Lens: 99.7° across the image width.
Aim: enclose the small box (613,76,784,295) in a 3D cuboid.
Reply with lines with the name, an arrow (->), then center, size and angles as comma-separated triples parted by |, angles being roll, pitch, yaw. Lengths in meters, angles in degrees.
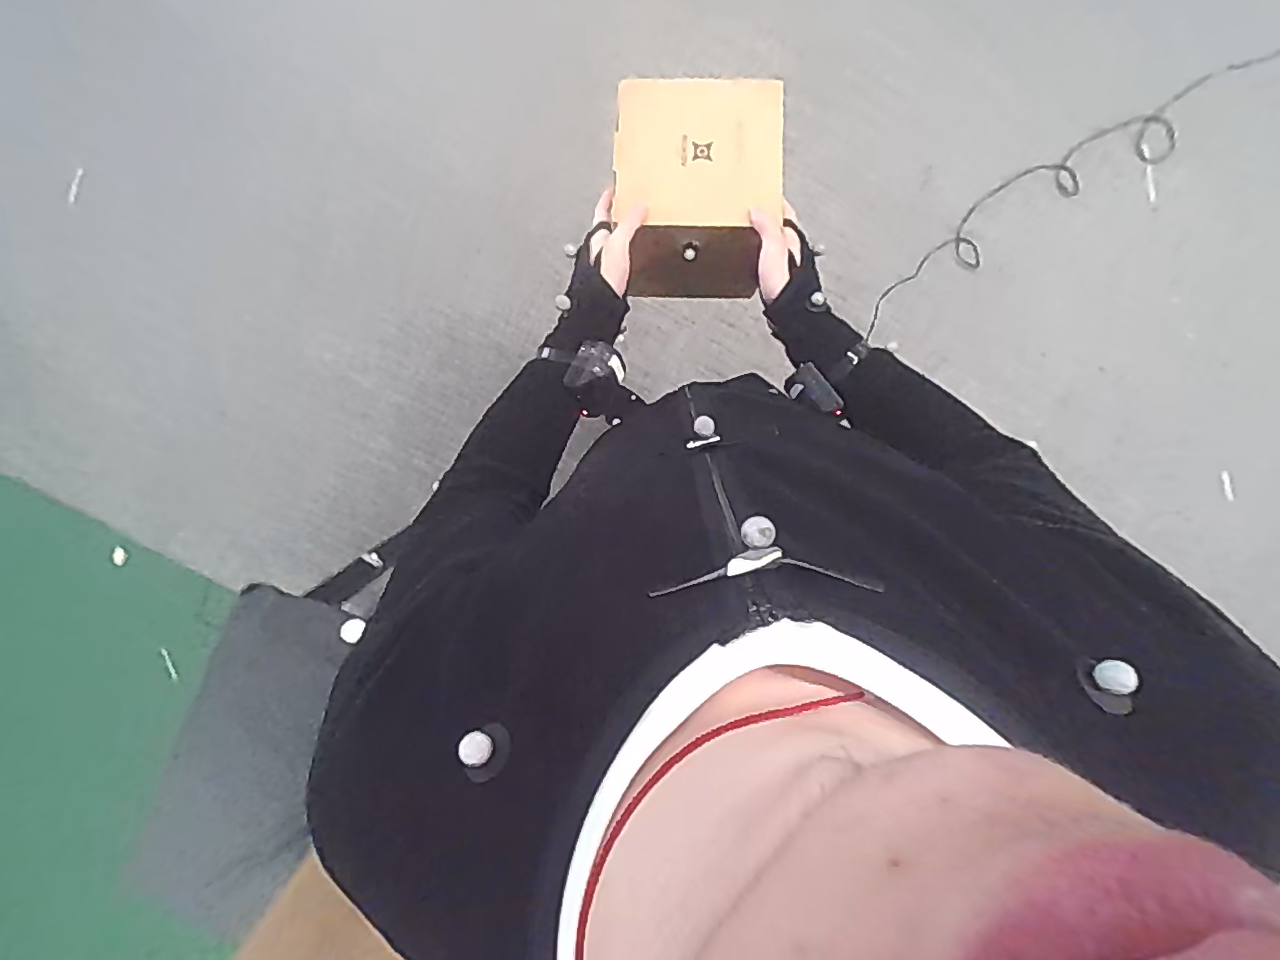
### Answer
small box -> 0.063, -0.333, 0.642 | 0.179, 0.176, 0.168 | 2, 84, 0
